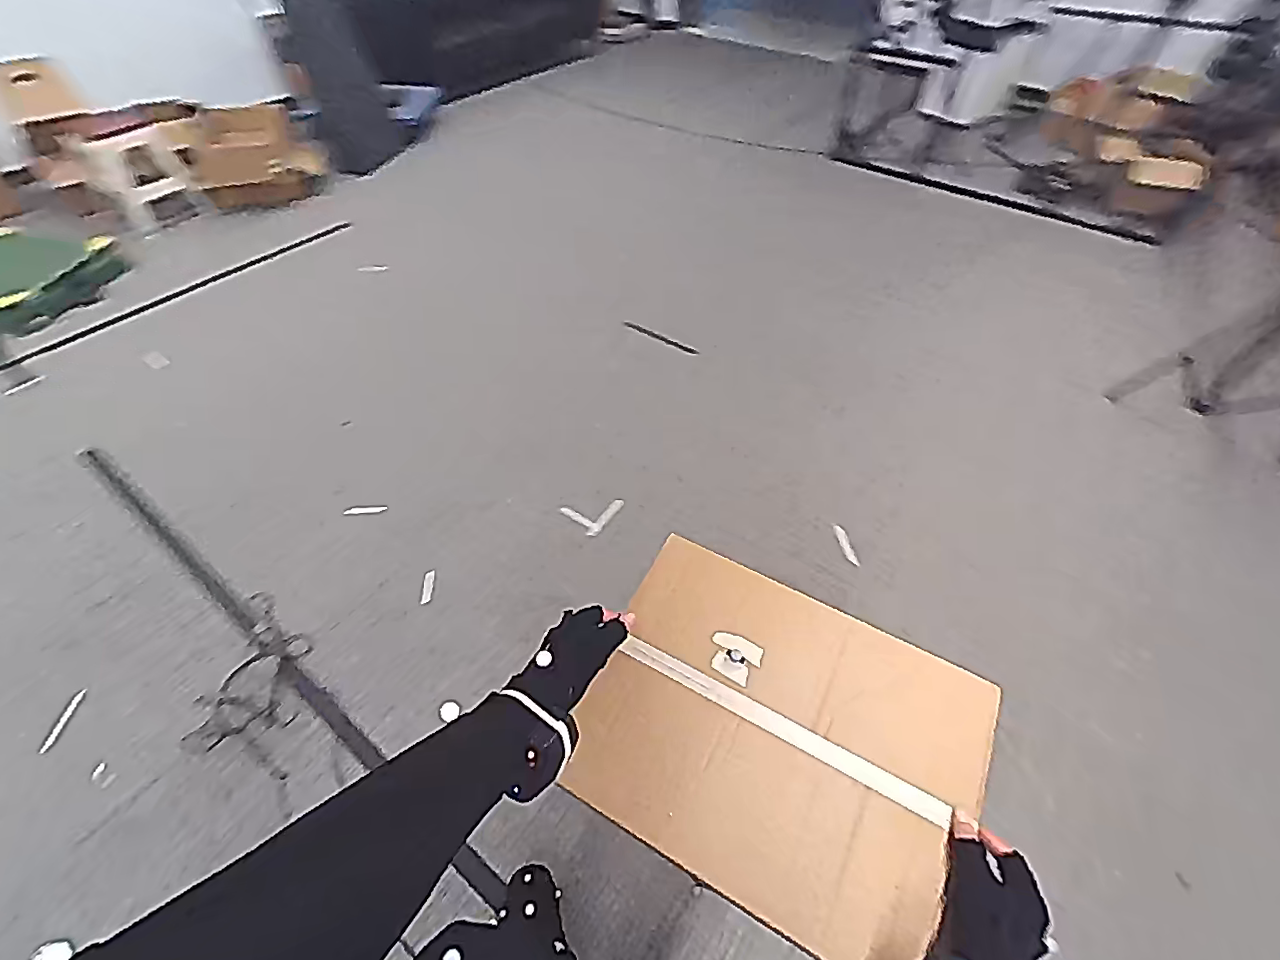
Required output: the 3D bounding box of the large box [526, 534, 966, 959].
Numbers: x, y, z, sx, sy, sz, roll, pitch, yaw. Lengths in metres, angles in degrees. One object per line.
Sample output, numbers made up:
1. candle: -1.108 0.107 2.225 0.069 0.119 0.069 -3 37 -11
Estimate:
1. large box: 0.130 0.336 0.709 0.408 0.320 0.320 22 58 17
